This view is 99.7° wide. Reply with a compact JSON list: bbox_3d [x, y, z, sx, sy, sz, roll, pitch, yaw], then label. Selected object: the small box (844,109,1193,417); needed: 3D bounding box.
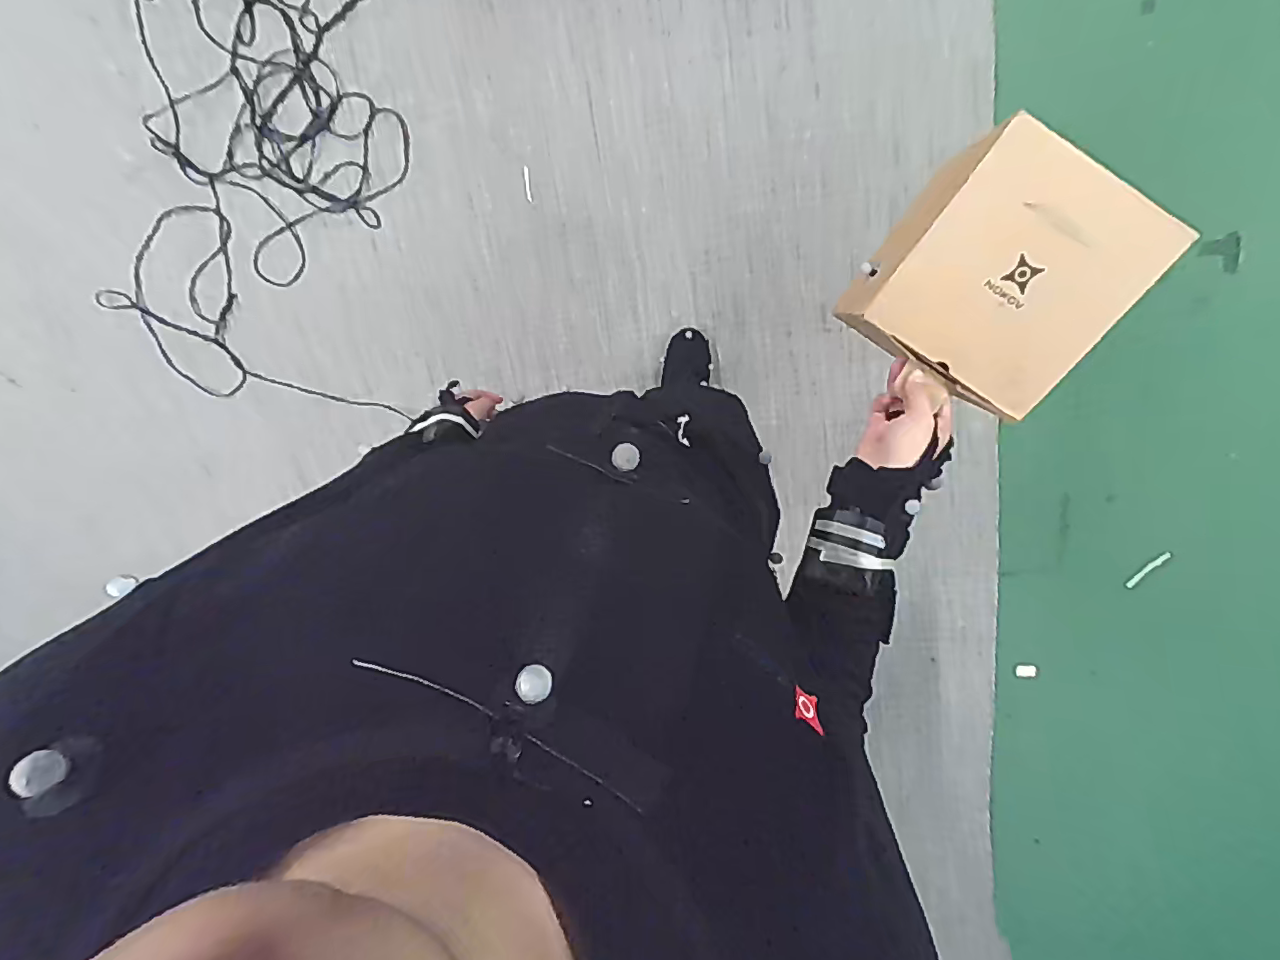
[{"bbox_3d":[0.314,-0.186,0.502,0.168,0.176,0.179,32,110,-2],"label":"small box"}]
